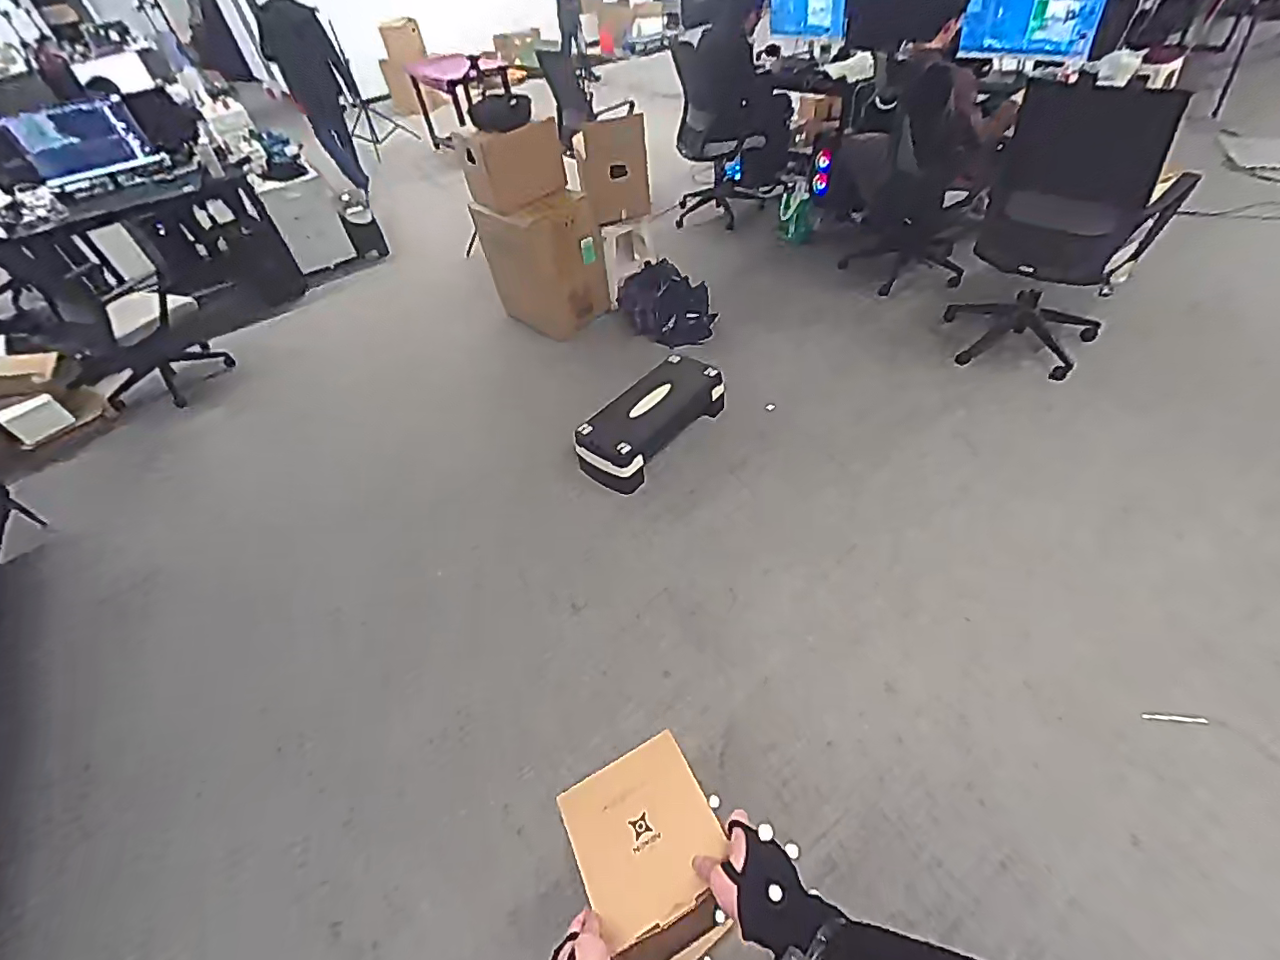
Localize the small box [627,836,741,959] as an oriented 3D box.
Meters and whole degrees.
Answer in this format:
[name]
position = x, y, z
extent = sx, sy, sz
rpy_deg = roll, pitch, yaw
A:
[small box]
position = 0.094, 0.910, 1.151
extent = 0.168, 0.176, 0.179
rpy_deg = -32, 50, -19
